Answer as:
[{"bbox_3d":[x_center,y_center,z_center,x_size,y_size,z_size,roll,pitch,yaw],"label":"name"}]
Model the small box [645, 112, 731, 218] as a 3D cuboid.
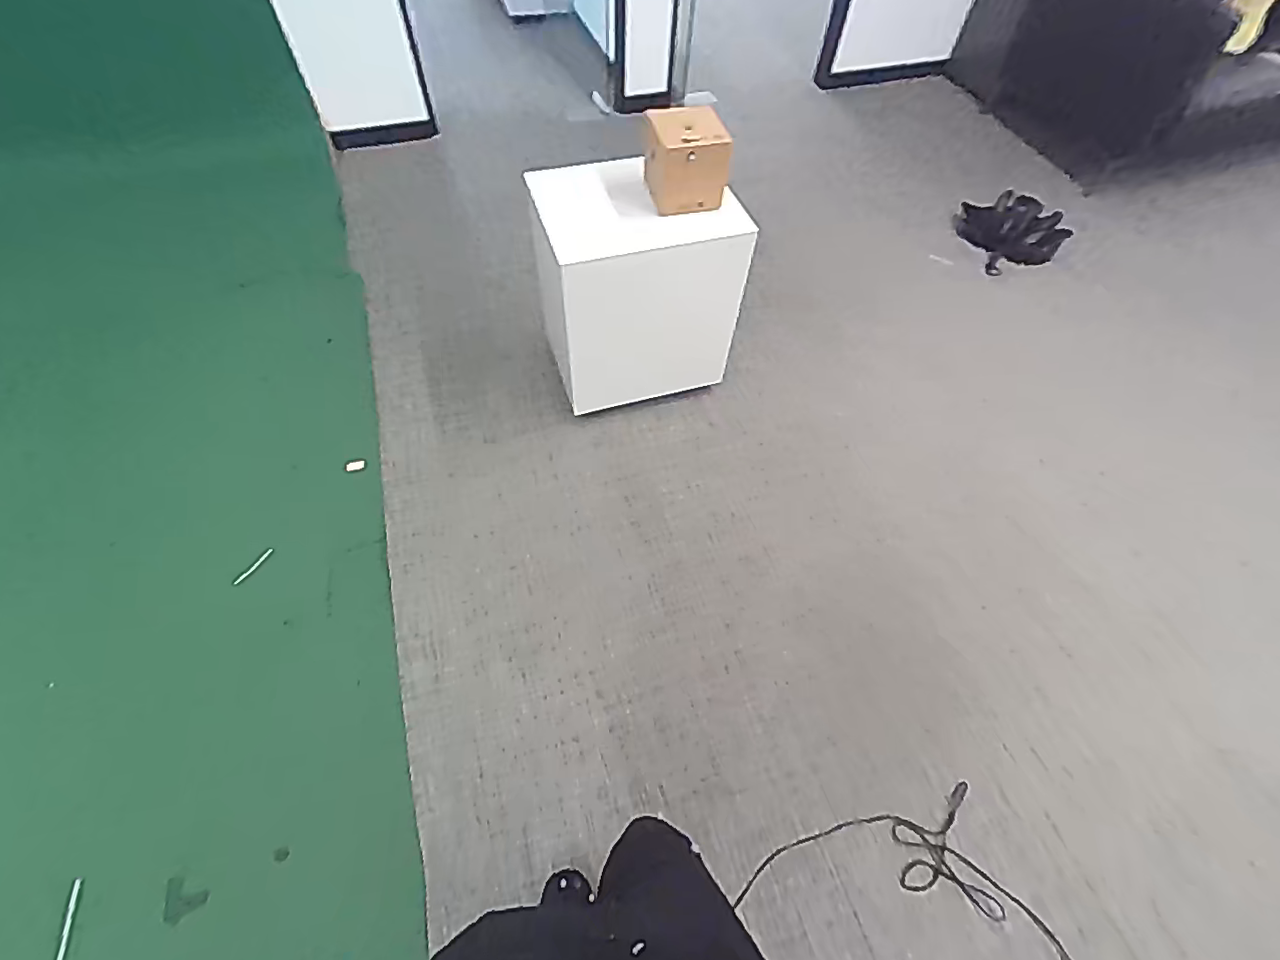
[{"bbox_3d":[0.111,-0.786,1.352,0.168,0.176,0.179,-12,59,-9],"label":"small box"}]
